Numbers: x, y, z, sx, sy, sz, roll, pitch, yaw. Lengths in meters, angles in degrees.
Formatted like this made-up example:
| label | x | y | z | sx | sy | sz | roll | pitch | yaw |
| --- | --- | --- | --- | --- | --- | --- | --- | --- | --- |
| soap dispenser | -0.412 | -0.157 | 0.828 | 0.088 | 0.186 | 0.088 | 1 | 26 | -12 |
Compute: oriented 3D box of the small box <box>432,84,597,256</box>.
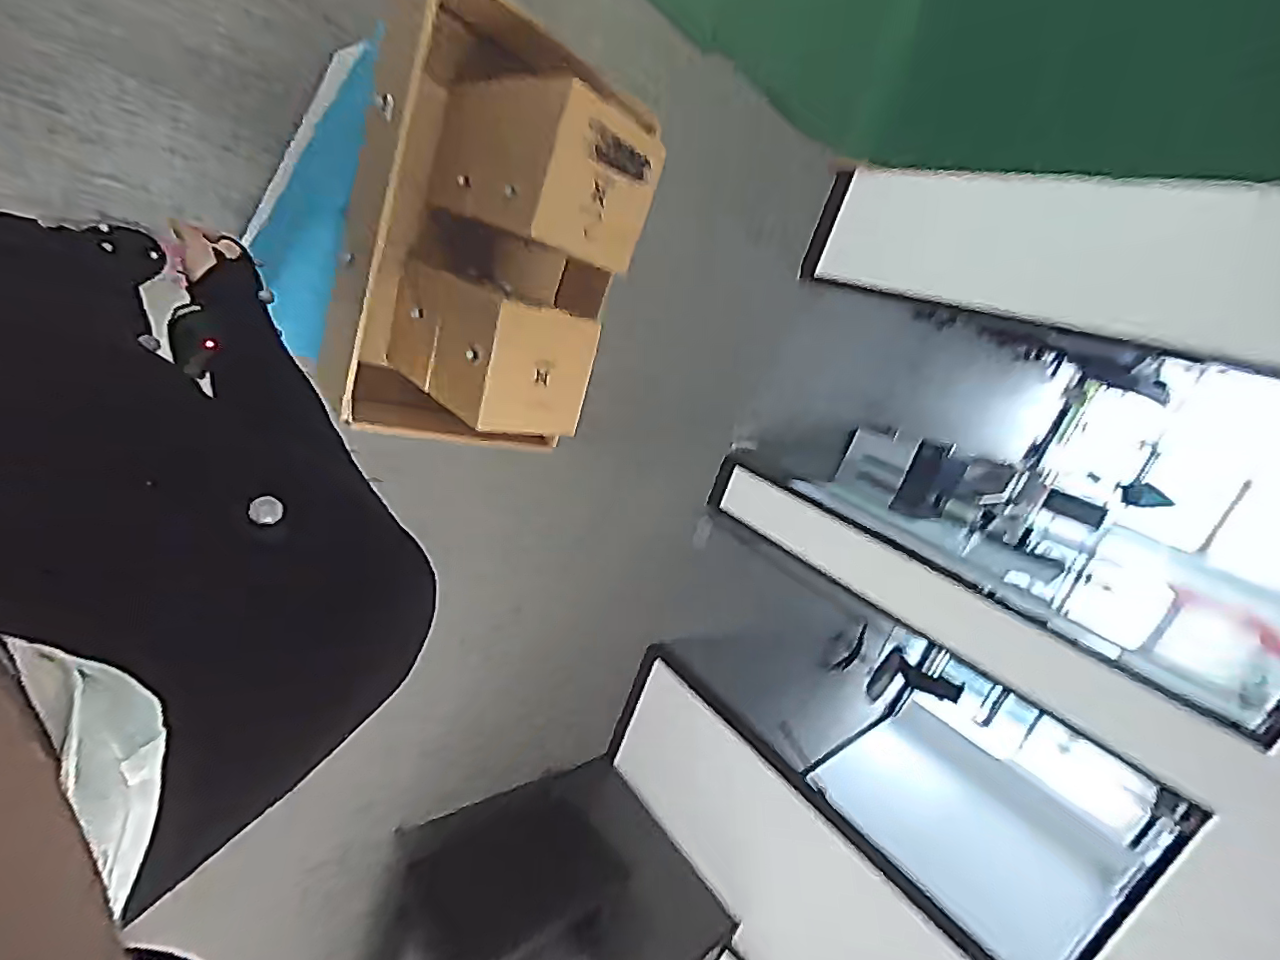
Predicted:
| label | x | y | z | sx | sy | sz | roll | pitch | yaw |
| --- | --- | --- | --- | --- | --- | --- | --- | --- | --- |
| small box | -0.202 | -0.480 | 0.844 | 0.168 | 0.176 | 0.179 | 4 | 114 | -46 |

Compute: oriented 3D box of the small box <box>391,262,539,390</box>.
| label | x | y | z | sx | sy | sz | roll | pitch | yaw |
| --- | --- | --- | --- | --- | --- | --- | --- | --- | --- |
| small box | -0.296 | -0.248 | 0.903 | 0.168 | 0.176 | 0.179 | 1 | 114 | -46 |

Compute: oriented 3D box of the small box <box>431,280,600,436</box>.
| label | x | y | z | sx | sy | sz | roll | pitch | yaw |
| --- | --- | --- | --- | --- | --- | --- | --- | --- | --- |
| small box | -0.190 | -0.180 | 0.799 | 0.168 | 0.176 | 0.179 | 0 | 115 | -45 |
